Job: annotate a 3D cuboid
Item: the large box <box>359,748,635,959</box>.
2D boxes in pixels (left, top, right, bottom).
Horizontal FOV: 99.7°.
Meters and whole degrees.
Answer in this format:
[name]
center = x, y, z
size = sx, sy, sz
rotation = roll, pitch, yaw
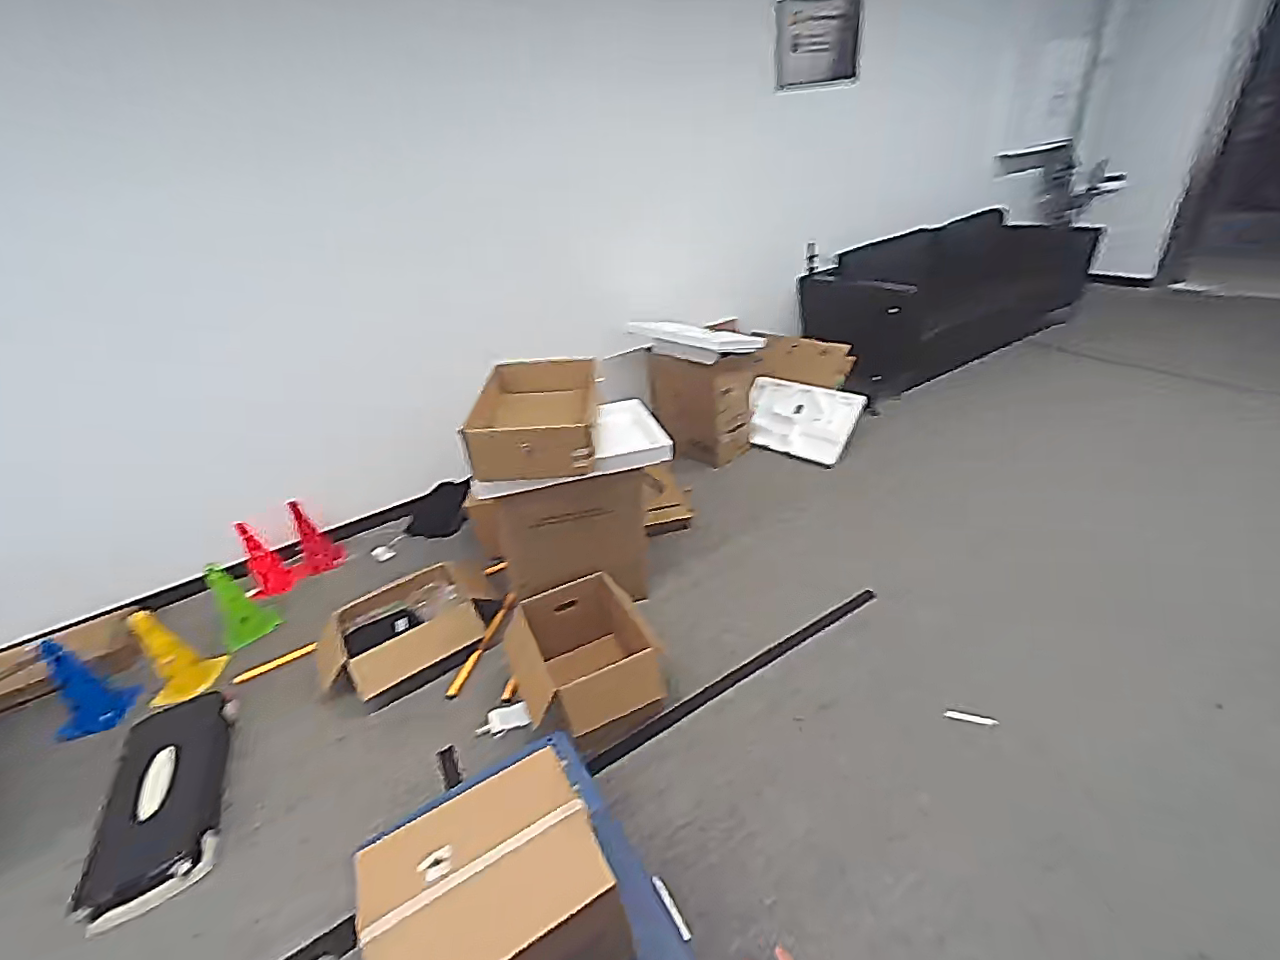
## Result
[large box]
center = -0.268, 0.834, 1.058
size = 0.408, 0.320, 0.320
rotation = -22, 33, -22
